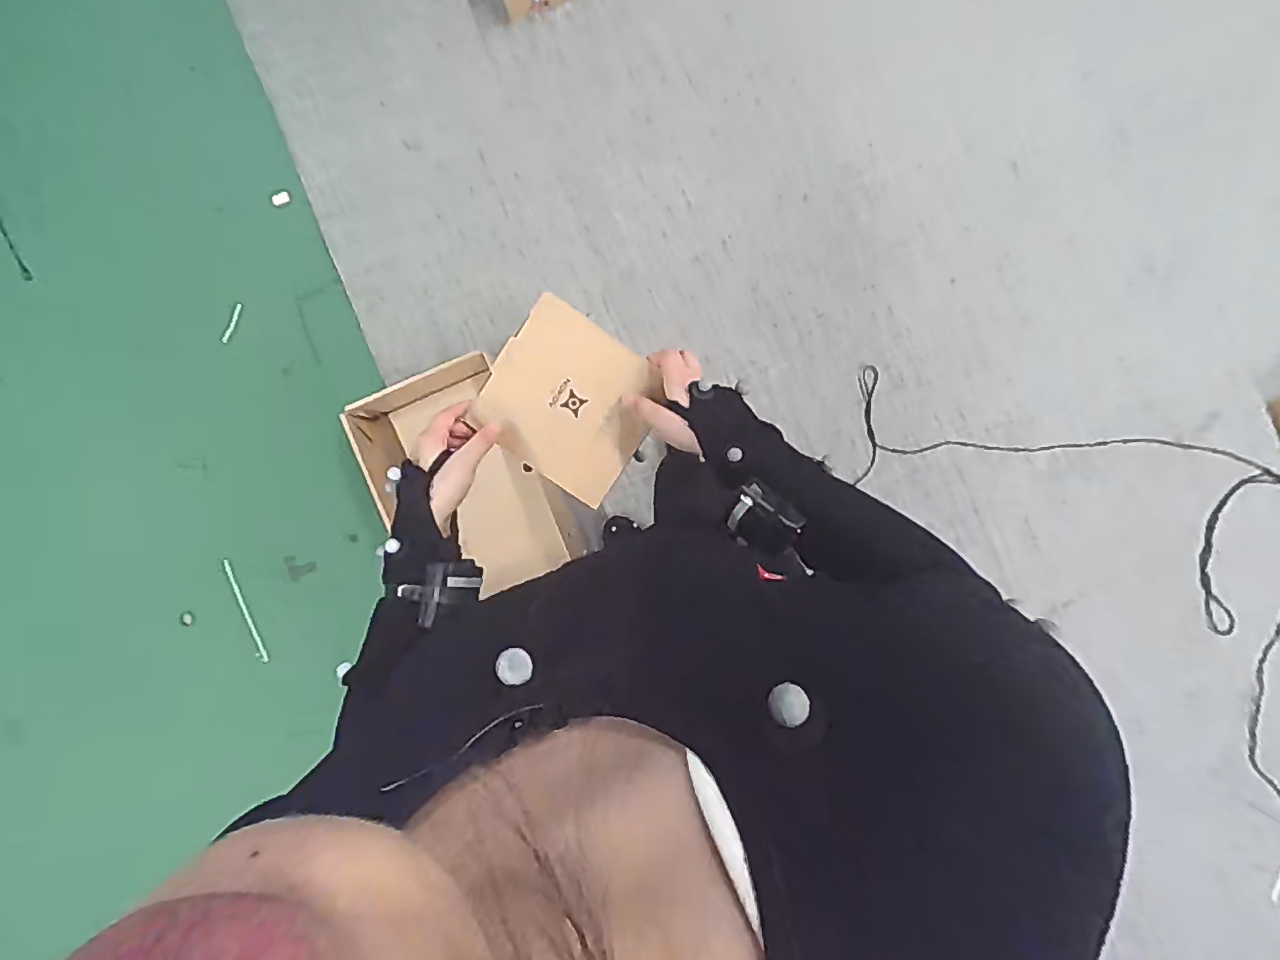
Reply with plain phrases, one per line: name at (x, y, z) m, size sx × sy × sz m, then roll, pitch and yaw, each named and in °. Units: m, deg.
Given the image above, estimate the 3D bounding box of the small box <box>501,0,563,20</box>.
small box at (-0.304, -1.330, 1.361) m, size 0.168 × 0.176 × 0.179 m, roll -18°, pitch 91°, yaw 4°

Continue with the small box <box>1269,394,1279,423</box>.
small box at (1.684, -0.159, 1.282) m, size 0.168 × 0.176 × 0.179 m, roll -26°, pitch 89°, yaw 4°

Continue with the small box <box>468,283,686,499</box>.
small box at (-0.067, -0.098, 0.646) m, size 0.179 × 0.176 × 0.168 m, roll 33°, pitch 95°, yaw -3°
